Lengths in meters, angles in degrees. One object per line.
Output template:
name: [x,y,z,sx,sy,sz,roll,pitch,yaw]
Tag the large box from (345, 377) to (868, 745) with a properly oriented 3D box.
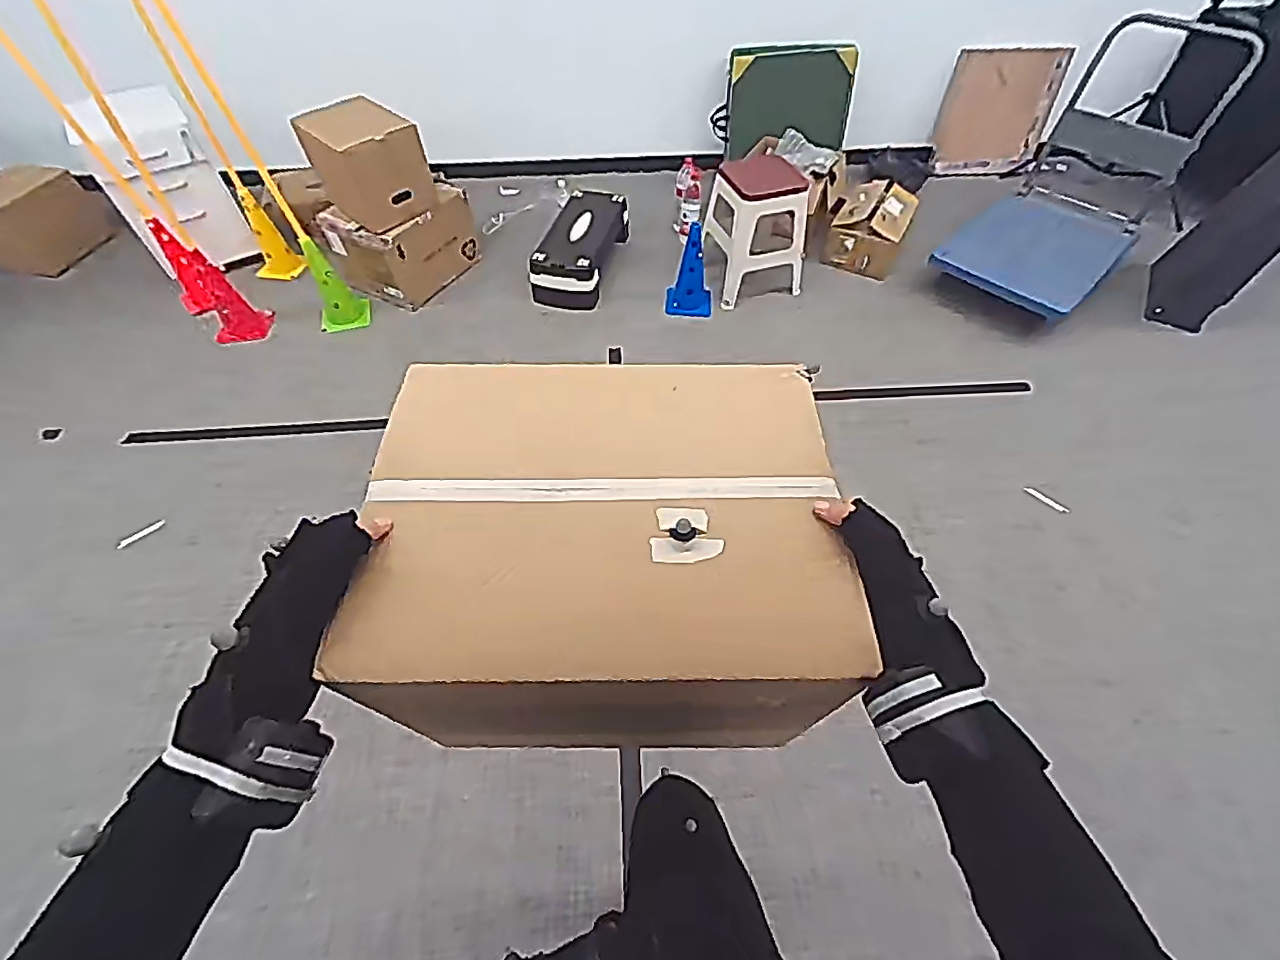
large box: [-0.028,0.101,0.611,0.408,0.320,0.320,0,55,-1]
